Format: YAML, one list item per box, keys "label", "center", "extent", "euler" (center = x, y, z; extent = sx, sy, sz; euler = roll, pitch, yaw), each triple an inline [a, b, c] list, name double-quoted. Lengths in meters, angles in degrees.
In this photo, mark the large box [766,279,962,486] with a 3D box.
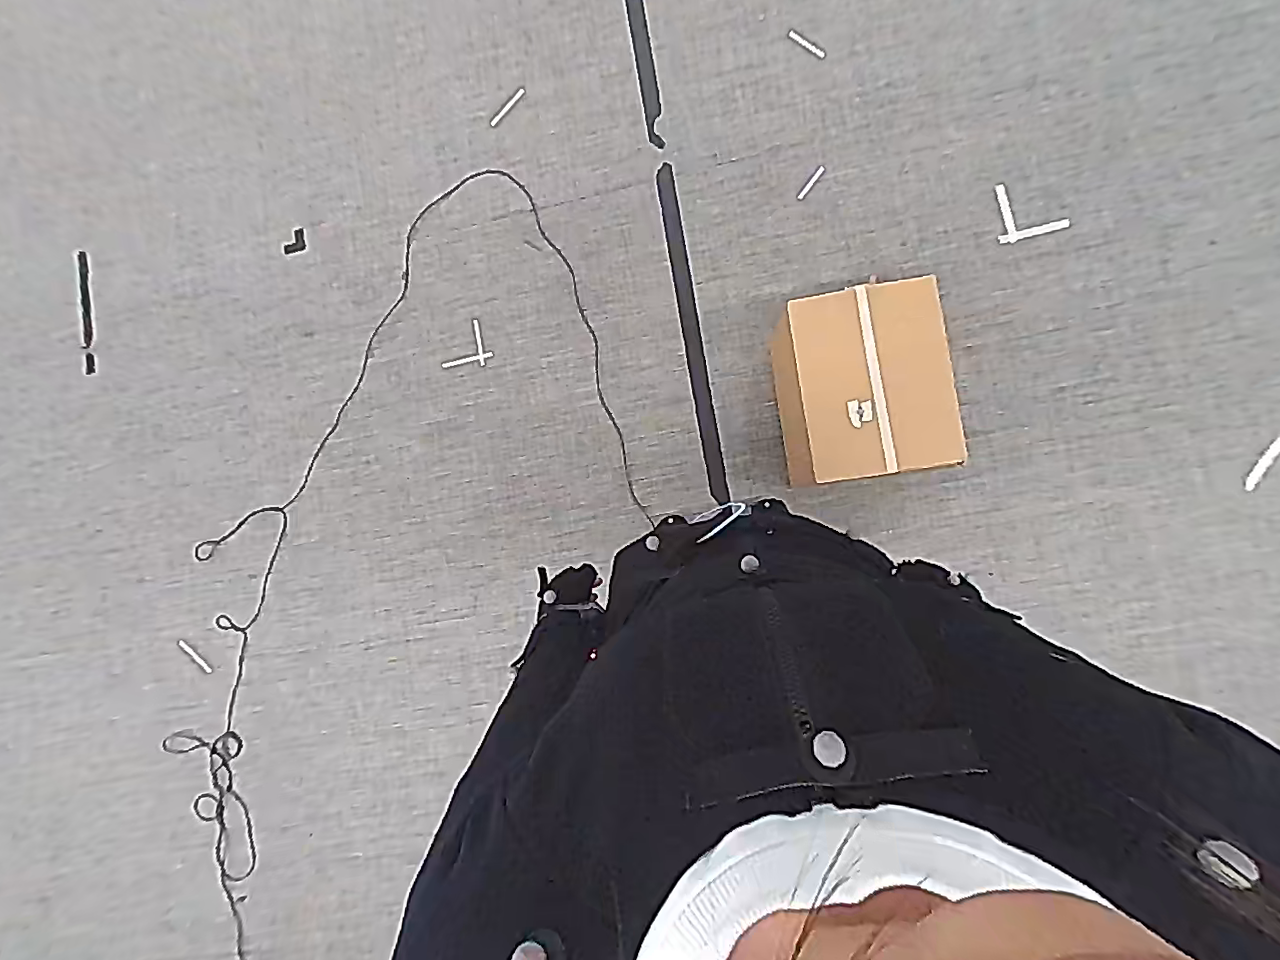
- label: "large box"
  center: [0.508, -0.208, 1.300]
  extent: [0.320, 0.320, 0.408]
  euler: [-9, 87, 6]
